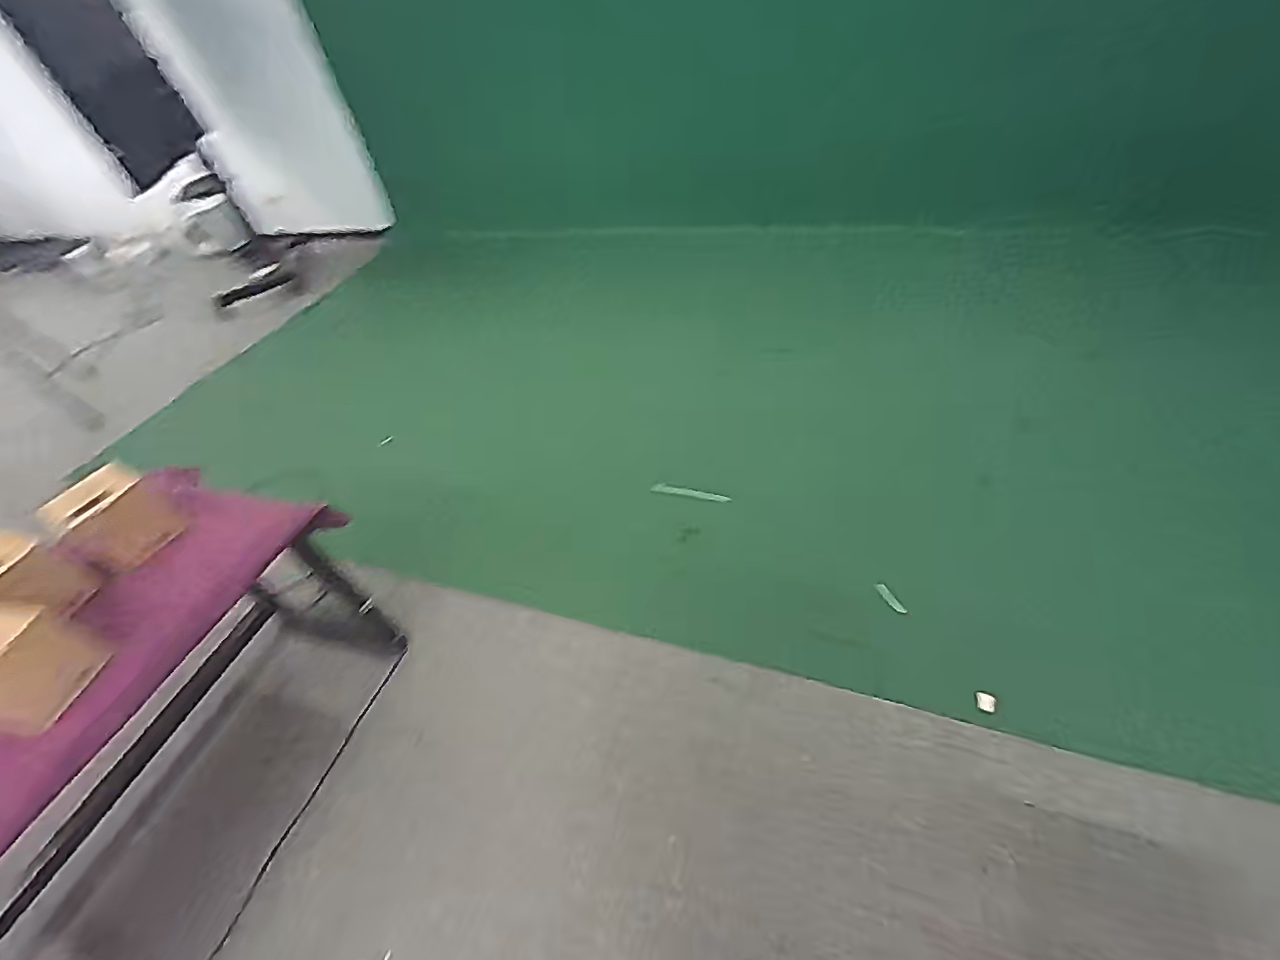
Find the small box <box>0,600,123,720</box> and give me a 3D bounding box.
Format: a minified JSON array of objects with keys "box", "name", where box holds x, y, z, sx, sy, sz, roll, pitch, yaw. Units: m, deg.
[{"box":[-1.209,0.357,1.068,0.179,0.176,0.168,1,48,15],"name":"small box"}]
